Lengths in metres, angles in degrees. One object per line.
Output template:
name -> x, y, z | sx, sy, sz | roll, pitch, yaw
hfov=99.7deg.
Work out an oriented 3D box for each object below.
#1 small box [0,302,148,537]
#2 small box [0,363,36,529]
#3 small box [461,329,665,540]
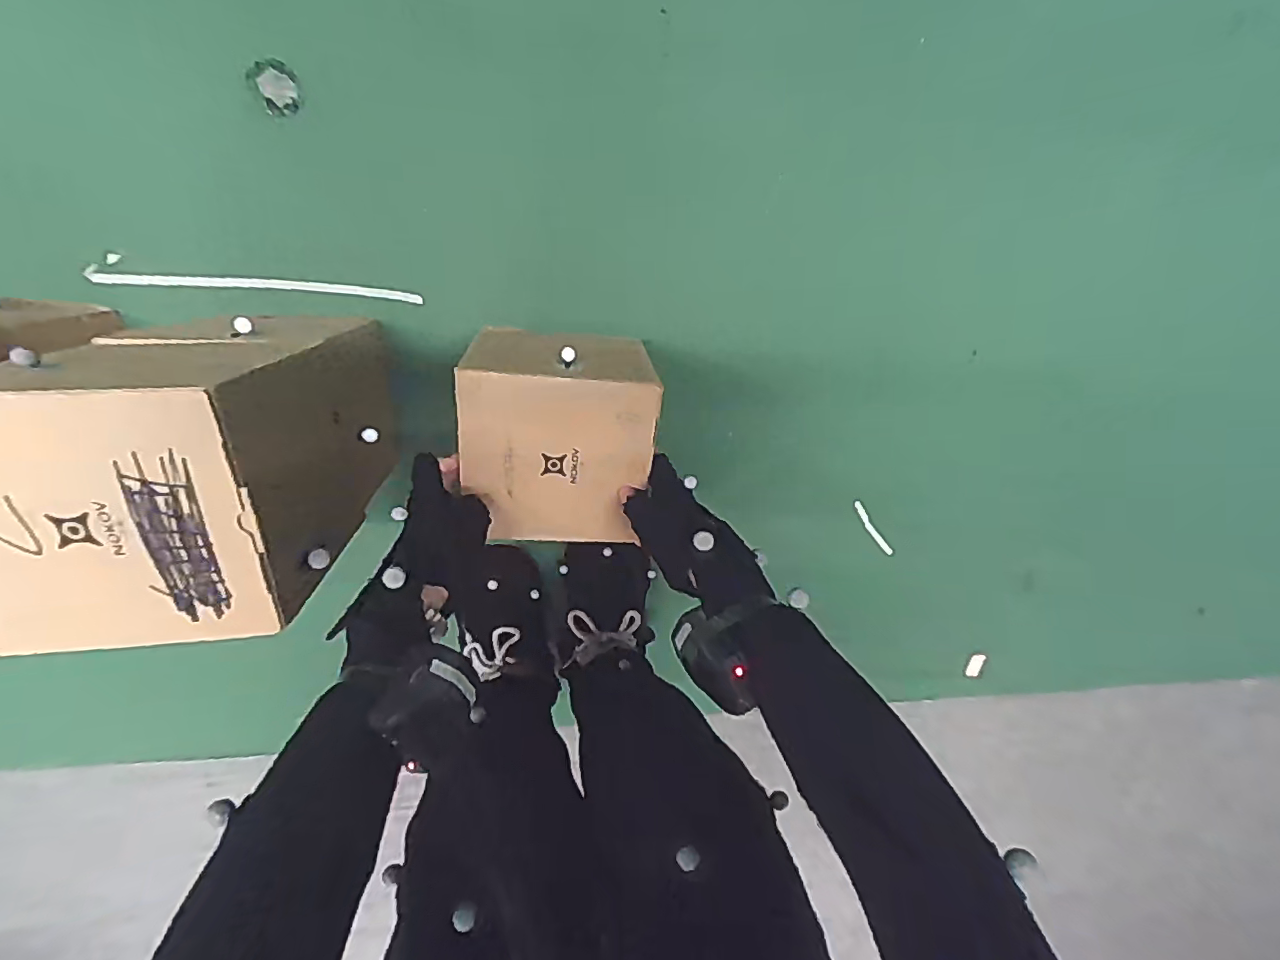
small box -> -0.614, -0.066, 0.505 | 0.168, 0.176, 0.179 | 5, 110, -10
small box -> -0.581, -0.015, 0.351 | 0.179, 0.176, 0.168 | 4, 111, -10
small box -> -0.084, -0.053, 0.563 | 0.179, 0.176, 0.168 | 3, 117, -10
